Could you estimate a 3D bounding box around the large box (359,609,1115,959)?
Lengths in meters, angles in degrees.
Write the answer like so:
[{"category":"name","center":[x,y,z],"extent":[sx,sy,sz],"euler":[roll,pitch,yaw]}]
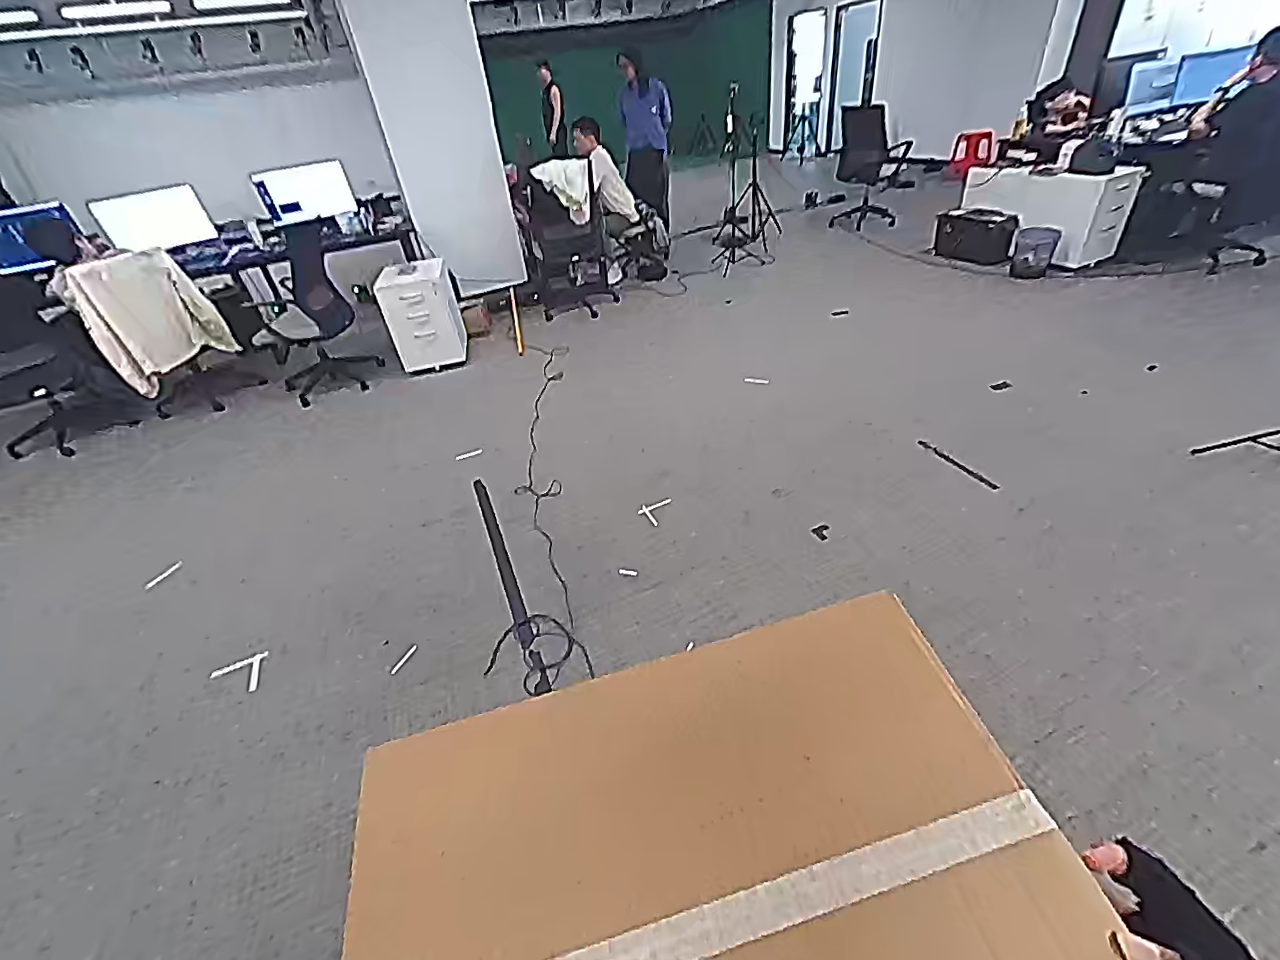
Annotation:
[{"category":"large box","center":[0.058,0.358,0.408],"extent":[0.408,0.320,0.320],"euler":[-16,45,-5]}]
